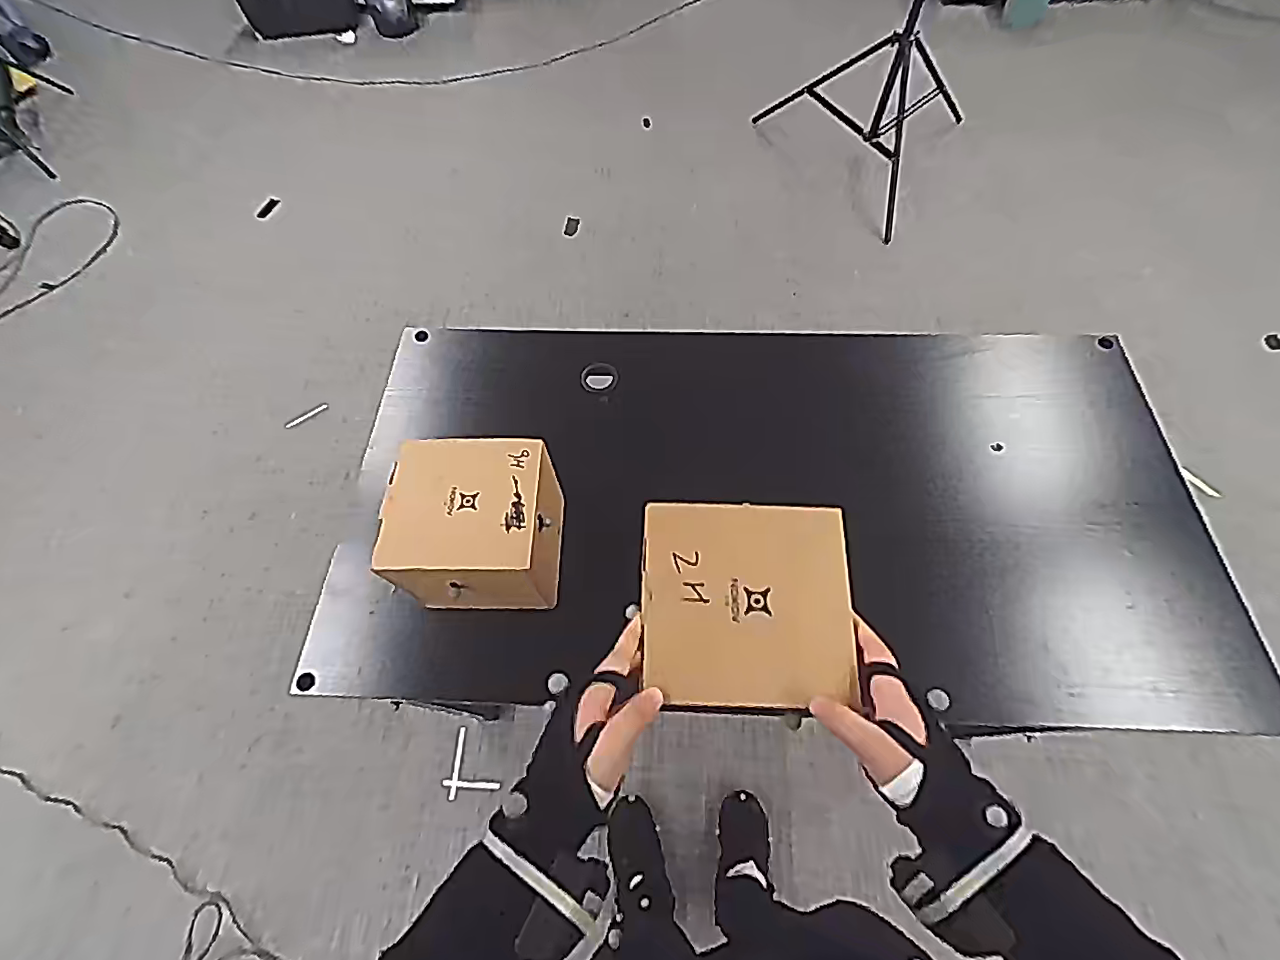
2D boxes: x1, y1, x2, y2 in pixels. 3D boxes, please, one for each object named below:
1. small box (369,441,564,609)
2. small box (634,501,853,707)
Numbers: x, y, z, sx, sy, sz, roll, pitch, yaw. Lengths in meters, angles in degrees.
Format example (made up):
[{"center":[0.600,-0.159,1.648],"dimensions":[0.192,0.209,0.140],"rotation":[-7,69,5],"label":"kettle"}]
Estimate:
[{"center":[-0.203,0.064,0.687],"dimensions":[0.179,0.176,0.168],"rotation":[-1,63,2],"label":"small box"},{"center":[0.085,0.126,0.529],"dimensions":[0.179,0.176,0.168],"rotation":[1,69,1],"label":"small box"}]
